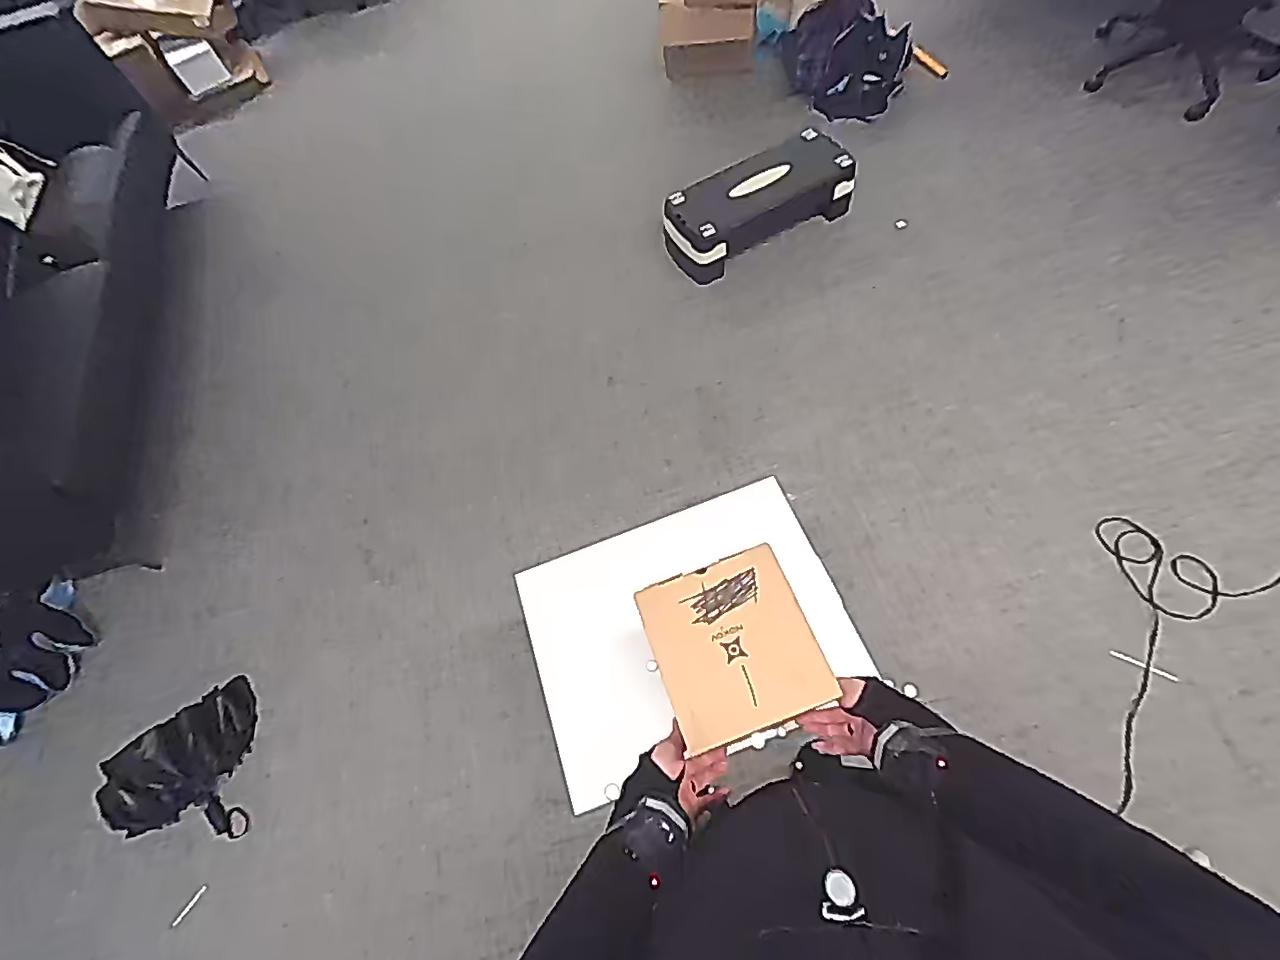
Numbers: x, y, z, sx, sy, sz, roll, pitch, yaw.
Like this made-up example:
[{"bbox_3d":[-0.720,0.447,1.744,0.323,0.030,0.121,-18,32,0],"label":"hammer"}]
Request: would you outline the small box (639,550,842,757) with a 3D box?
[{"bbox_3d":[0.108,0.212,0.642,0.168,0.176,0.179,-20,63,-2],"label":"small box"}]
